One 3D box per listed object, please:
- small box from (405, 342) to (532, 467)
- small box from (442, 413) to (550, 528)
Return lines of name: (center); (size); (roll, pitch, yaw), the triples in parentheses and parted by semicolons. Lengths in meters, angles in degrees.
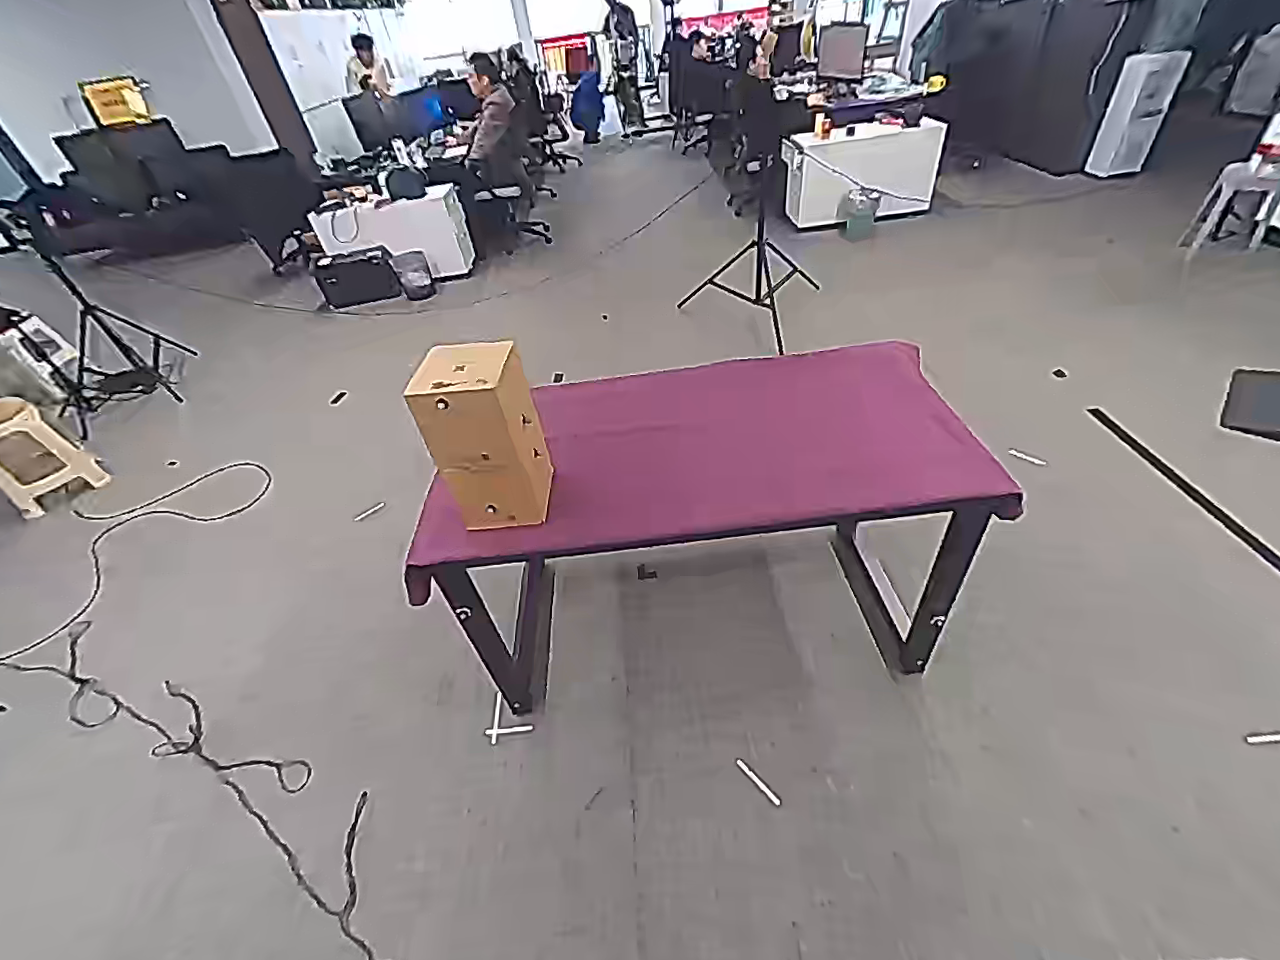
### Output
small box: (-0.312, -0.144, 1.032); (0.168, 0.176, 0.179); (-4, 40, 5)
small box: (-0.291, -0.021, 1.138); (0.168, 0.176, 0.179); (-5, 41, 4)
